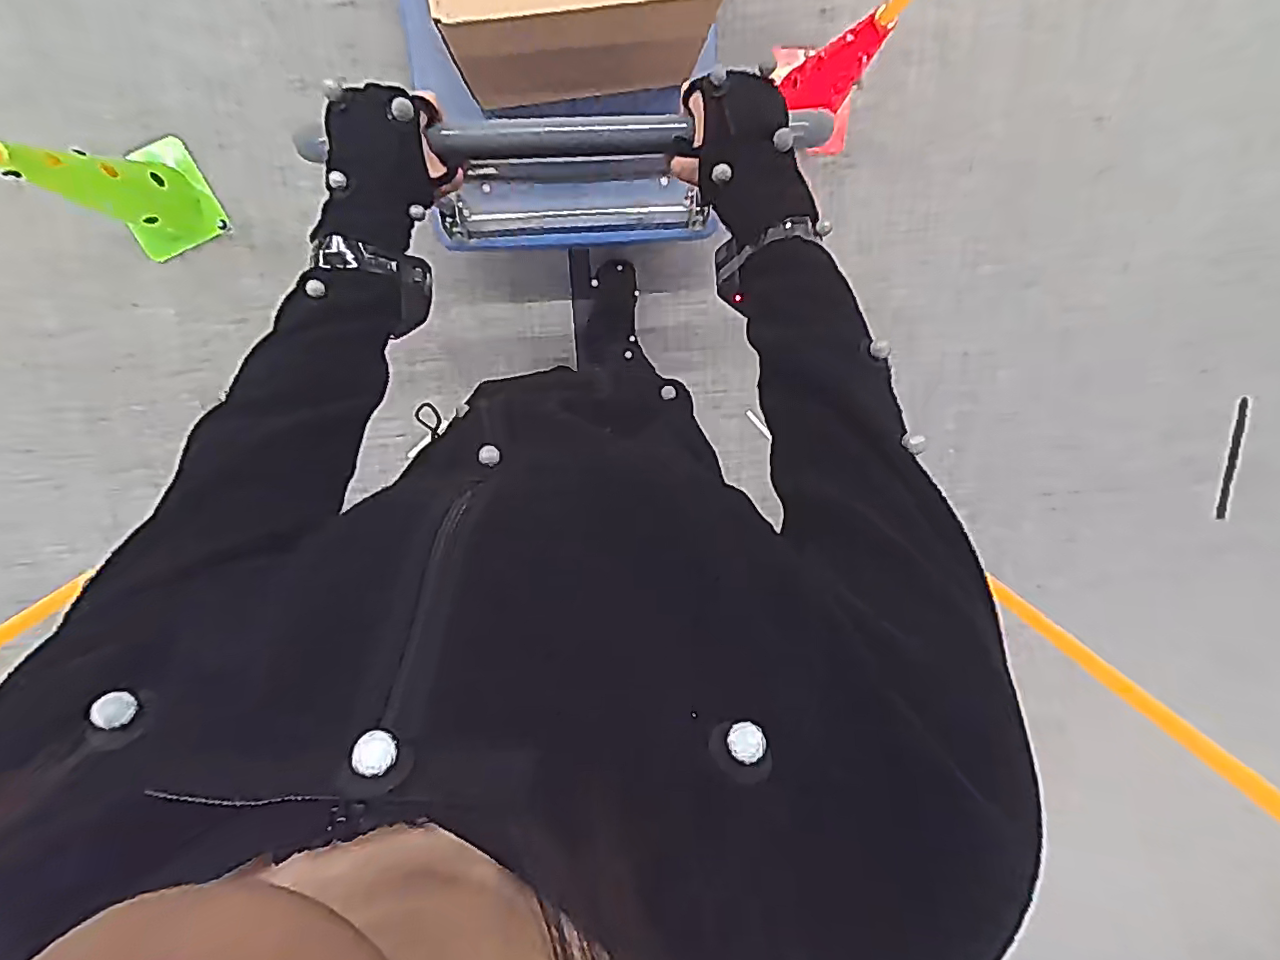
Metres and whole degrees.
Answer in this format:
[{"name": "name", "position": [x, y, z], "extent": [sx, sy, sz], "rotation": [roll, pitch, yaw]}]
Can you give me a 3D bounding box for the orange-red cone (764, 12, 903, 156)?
[{"name": "orange-red cone", "position": [0.402, -0.801, 1.057], "extent": [0.199, 0.360, 0.198], "rotation": [1, 106, -6]}]
